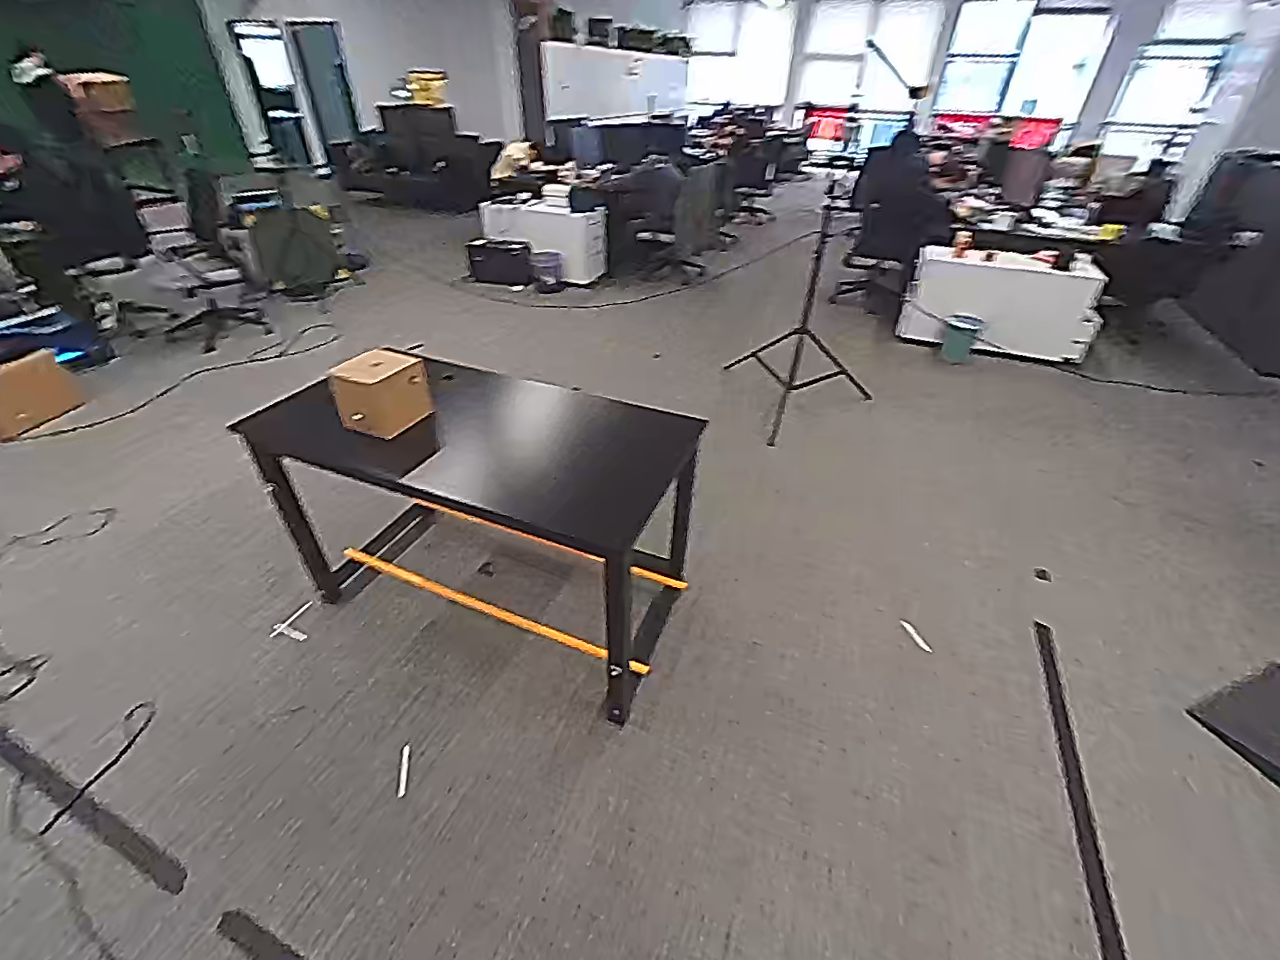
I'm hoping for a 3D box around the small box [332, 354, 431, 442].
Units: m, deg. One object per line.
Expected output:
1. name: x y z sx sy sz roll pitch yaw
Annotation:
1. small box: -0.709 -0.230 1.509 0.168 0.176 0.179 16 39 19
